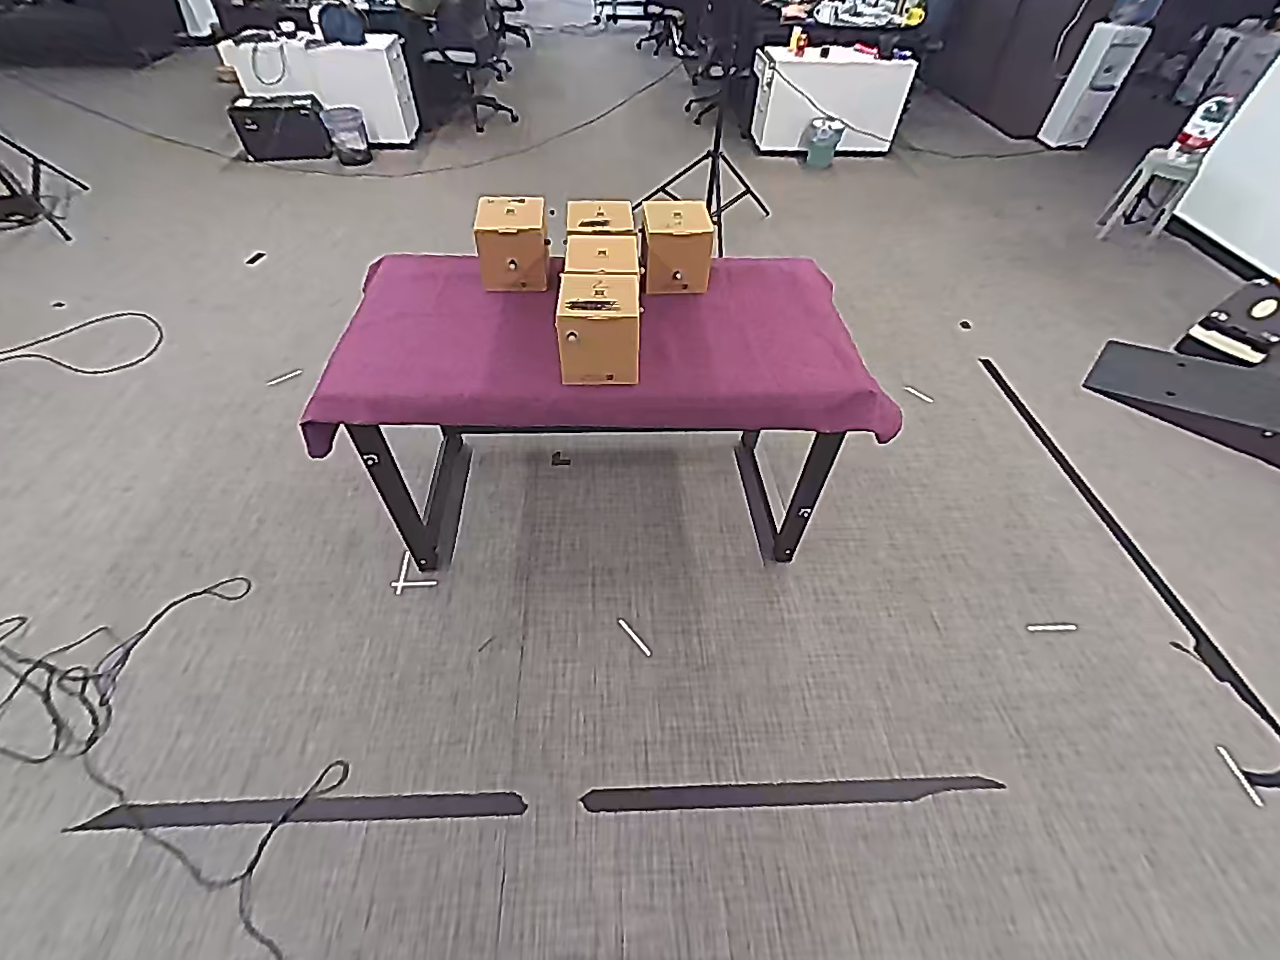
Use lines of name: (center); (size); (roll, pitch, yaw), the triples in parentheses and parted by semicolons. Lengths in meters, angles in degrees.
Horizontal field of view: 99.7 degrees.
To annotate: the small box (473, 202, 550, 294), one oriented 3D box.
small box: (-0.327, -0.603, 1.416); (0.168, 0.176, 0.179); (-2, 52, -4)
